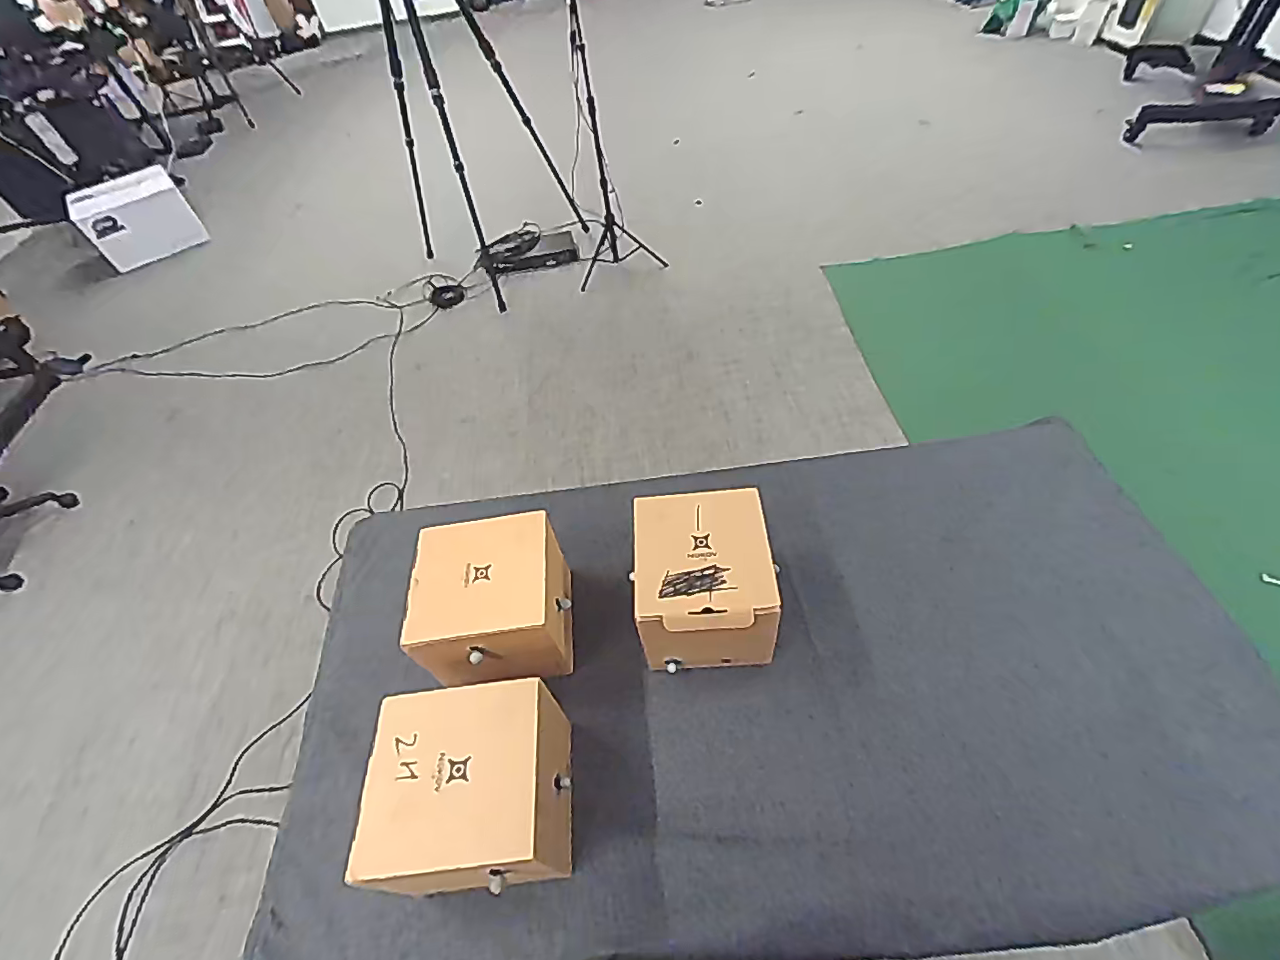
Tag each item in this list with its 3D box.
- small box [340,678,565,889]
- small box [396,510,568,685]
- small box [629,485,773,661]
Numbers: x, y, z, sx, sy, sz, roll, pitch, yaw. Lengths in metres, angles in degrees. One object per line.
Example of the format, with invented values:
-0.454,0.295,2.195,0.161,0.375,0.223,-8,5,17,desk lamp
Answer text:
-0.181,0.335,0.592,0.179,0.176,0.168,-8,50,1,small box
-0.197,0.164,0.736,0.179,0.176,0.168,-10,51,2,small box
0.078,0.130,0.718,0.168,0.176,0.179,-5,51,5,small box
